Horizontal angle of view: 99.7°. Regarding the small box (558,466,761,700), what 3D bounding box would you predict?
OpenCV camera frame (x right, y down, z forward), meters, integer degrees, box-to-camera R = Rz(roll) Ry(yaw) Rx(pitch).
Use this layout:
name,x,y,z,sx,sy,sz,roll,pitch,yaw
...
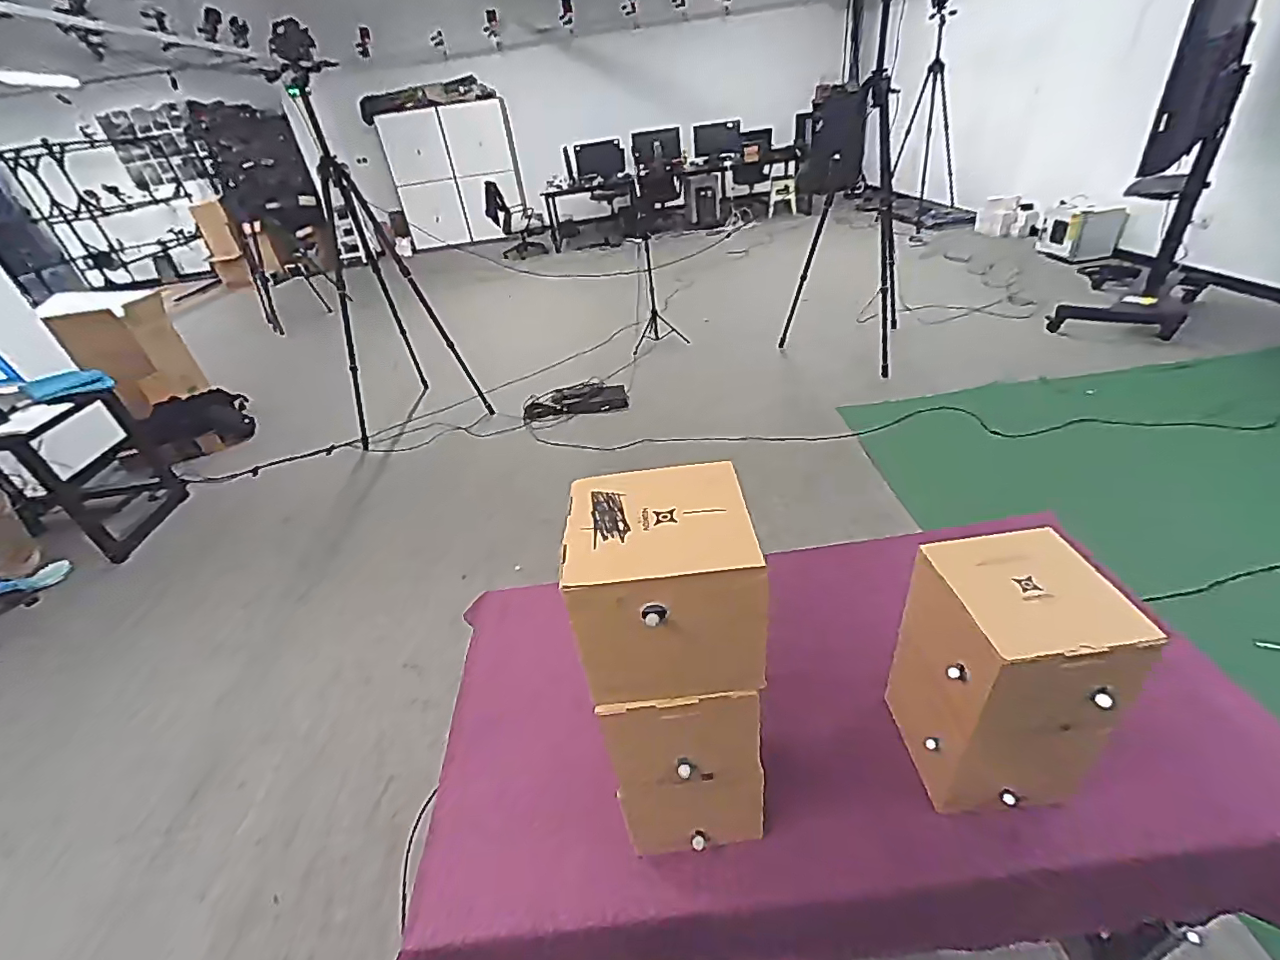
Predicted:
name,x,y,z,sx,sy,sz,roll,pitch,yaw
small box,0.023,0.107,0.561,0.179,0.176,0.168,-6,34,1

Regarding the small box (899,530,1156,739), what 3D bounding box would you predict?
name,x,y,z,sx,sy,sz,roll,pitch,yaw
small box,0.437,0.187,0.648,0.168,0.176,0.179,-8,34,1

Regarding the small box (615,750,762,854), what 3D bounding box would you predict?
name,x,y,z,sx,sy,sz,roll,pitch,yaw
small box,0.059,0.380,0.743,0.179,0.176,0.168,-8,34,-1

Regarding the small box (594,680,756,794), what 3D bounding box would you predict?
name,x,y,z,sx,sy,sz,roll,pitch,yaw
small box,0.039,0.242,0.654,0.168,0.176,0.179,-9,35,1
